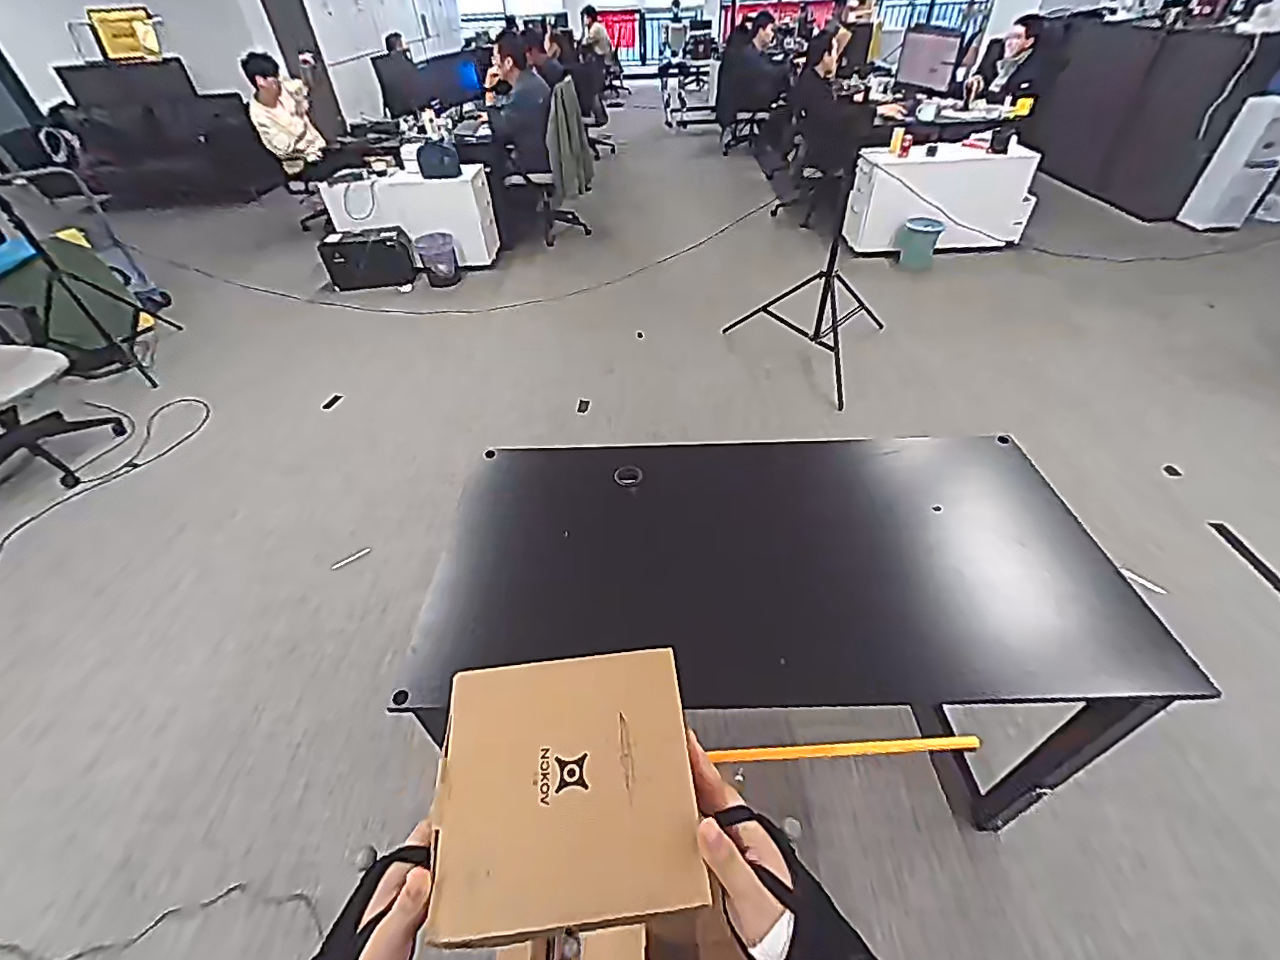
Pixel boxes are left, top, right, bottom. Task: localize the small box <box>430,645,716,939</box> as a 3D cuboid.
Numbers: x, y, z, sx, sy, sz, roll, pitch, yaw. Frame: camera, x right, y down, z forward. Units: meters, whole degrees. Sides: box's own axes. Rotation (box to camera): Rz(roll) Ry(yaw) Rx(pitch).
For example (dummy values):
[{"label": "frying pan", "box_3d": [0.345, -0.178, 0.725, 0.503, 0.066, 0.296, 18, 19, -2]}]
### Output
[{"label": "small box", "box_3d": [-0.045, 0.252, 0.433, 0.179, 0.176, 0.168, -5, 51, -4]}]
